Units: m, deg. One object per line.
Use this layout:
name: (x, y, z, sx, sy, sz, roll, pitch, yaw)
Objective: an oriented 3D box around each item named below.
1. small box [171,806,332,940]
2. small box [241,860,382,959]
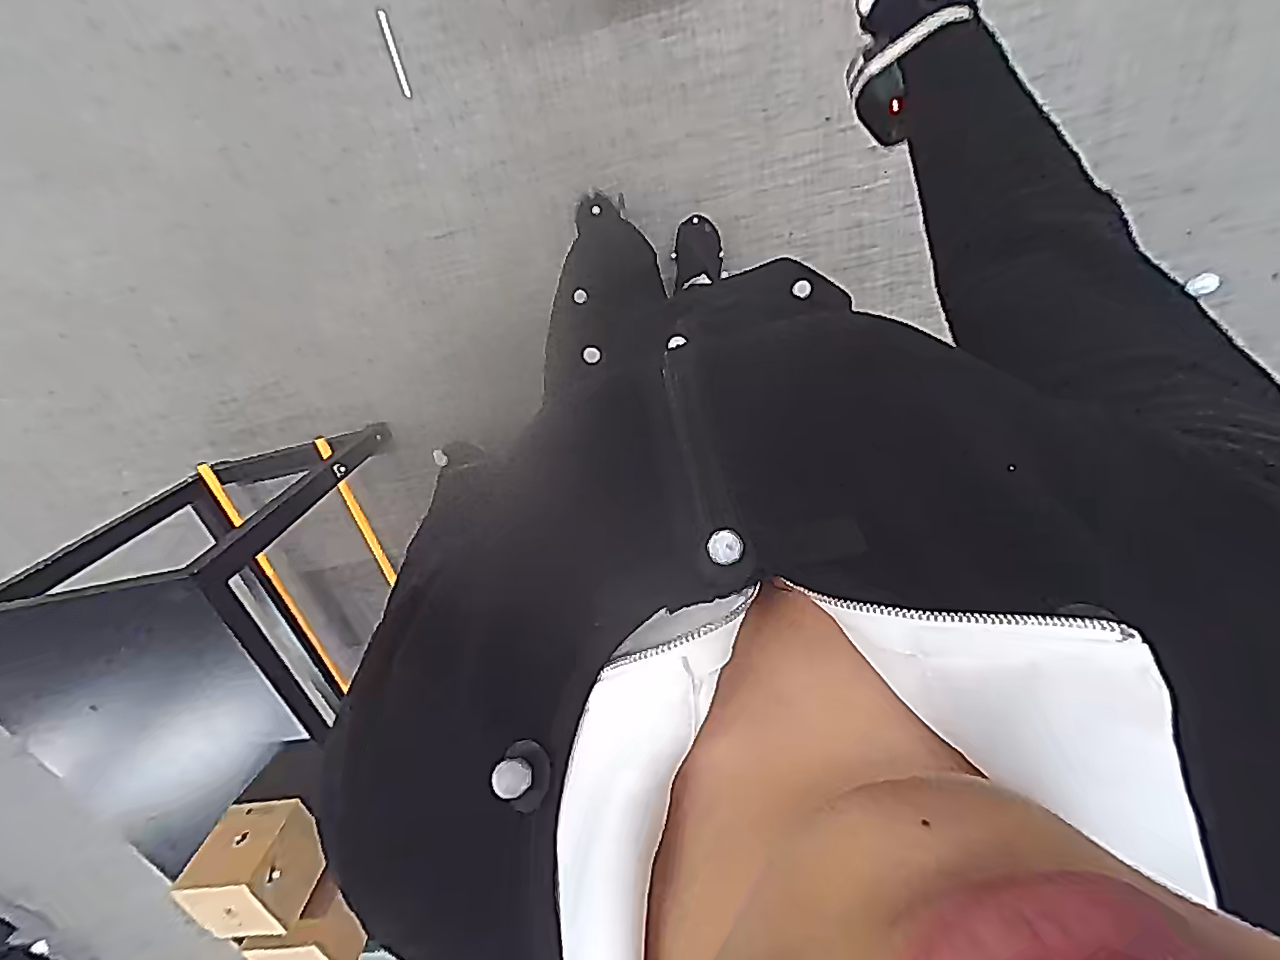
small box: (-0.781, 0.797, 1.109, 0.168, 0.176, 0.179, -9, 116, 7)
small box: (-0.719, 0.985, 1.205, 0.179, 0.176, 0.168, -11, 117, 7)
